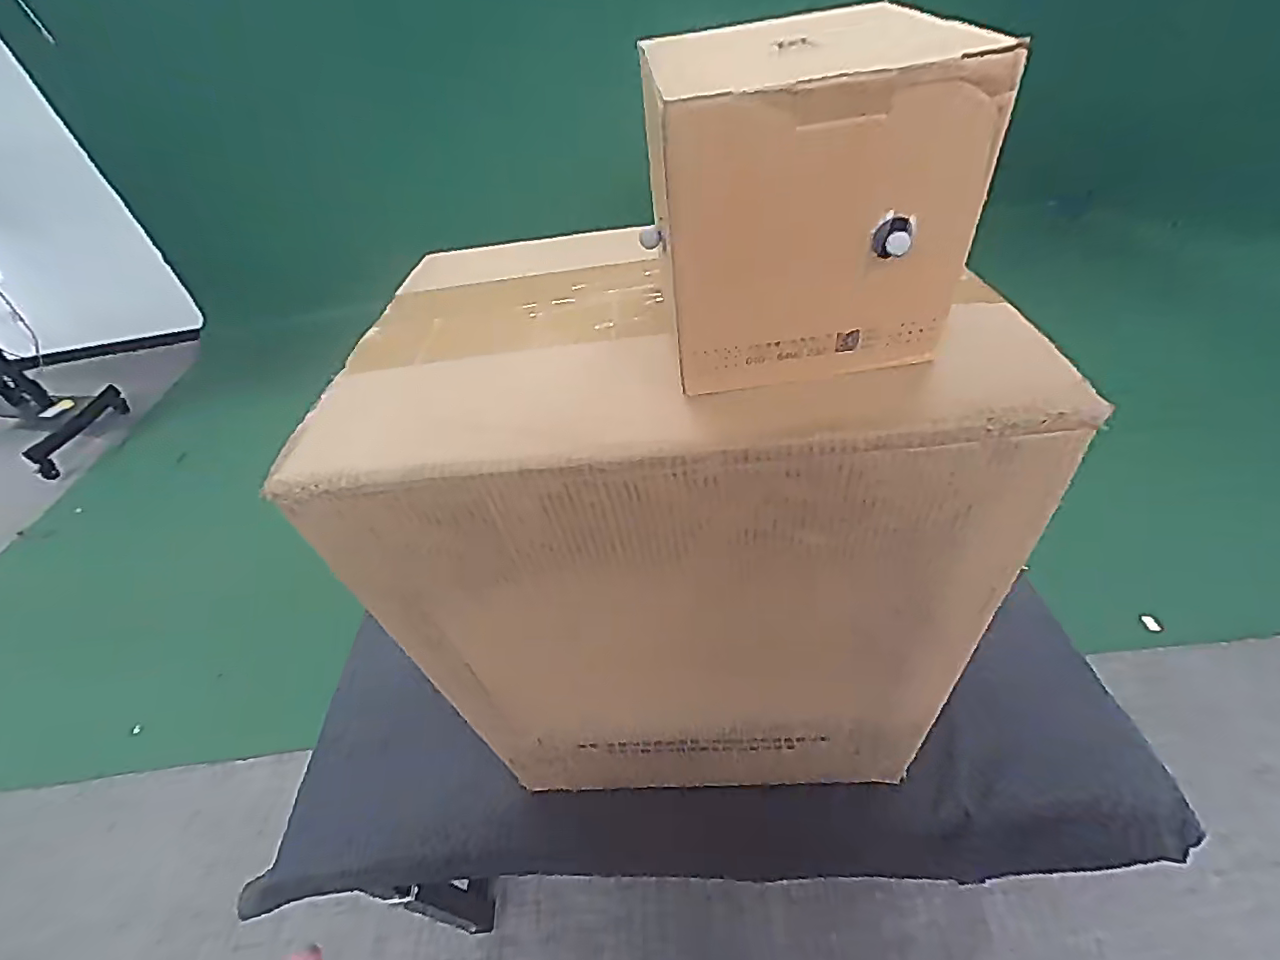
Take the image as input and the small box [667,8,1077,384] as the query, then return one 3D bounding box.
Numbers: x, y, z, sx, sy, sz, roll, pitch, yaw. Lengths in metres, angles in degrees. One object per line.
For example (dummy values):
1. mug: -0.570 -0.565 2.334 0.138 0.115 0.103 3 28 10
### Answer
1. small box: 0.111 -0.175 0.348 0.168 0.176 0.179 -6 46 0
